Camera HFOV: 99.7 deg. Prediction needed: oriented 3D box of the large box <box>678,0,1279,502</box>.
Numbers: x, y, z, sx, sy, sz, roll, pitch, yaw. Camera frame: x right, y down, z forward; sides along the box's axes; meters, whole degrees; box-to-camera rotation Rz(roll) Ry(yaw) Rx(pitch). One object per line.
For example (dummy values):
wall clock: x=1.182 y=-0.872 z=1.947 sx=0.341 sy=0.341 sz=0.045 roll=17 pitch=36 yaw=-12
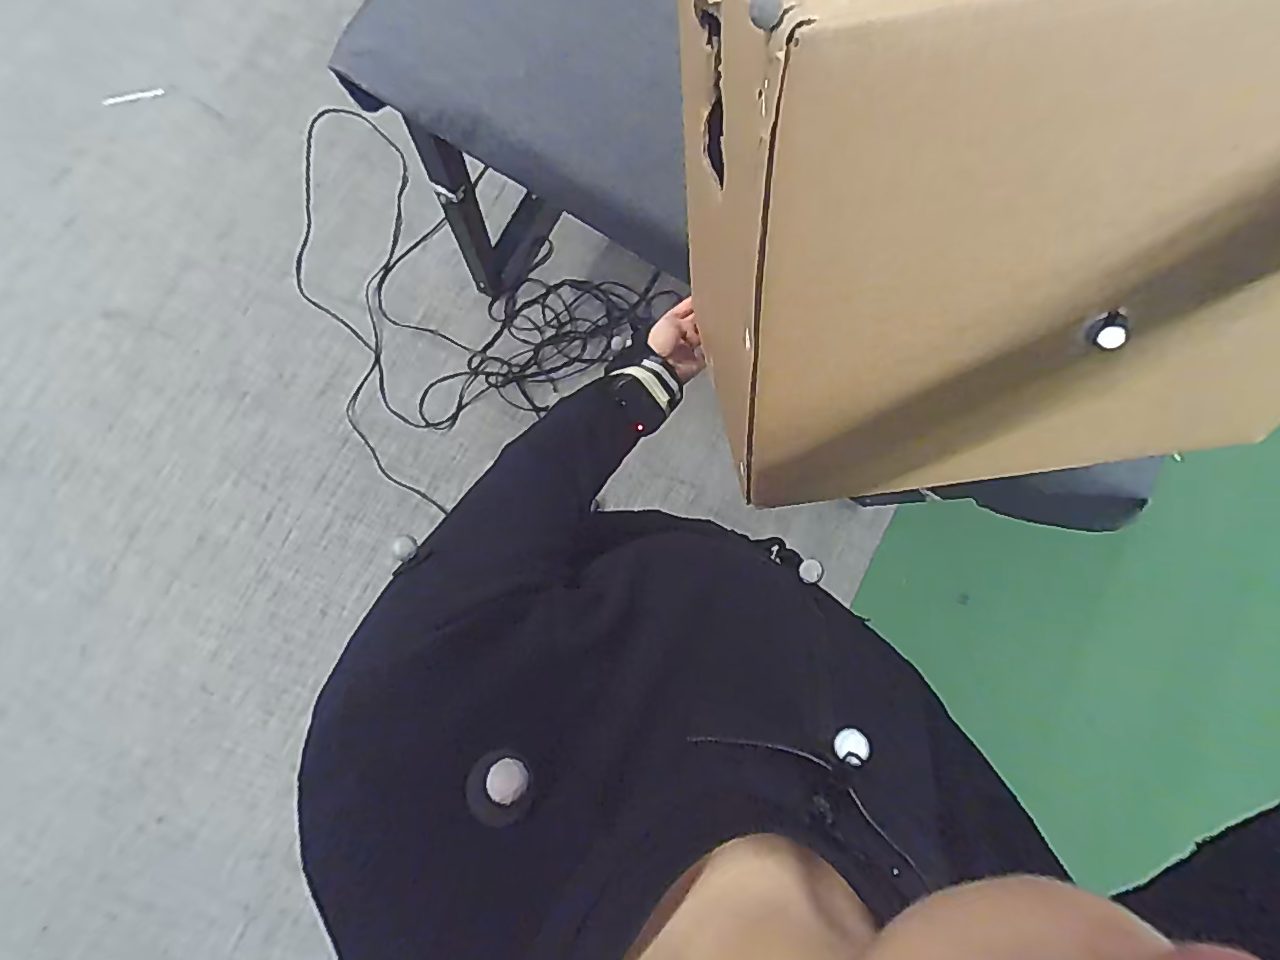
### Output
large box: x=0.260 y=-0.219 z=0.420 sx=0.408 sy=0.320 sz=0.320 roll=-10 pitch=49 yaw=2
